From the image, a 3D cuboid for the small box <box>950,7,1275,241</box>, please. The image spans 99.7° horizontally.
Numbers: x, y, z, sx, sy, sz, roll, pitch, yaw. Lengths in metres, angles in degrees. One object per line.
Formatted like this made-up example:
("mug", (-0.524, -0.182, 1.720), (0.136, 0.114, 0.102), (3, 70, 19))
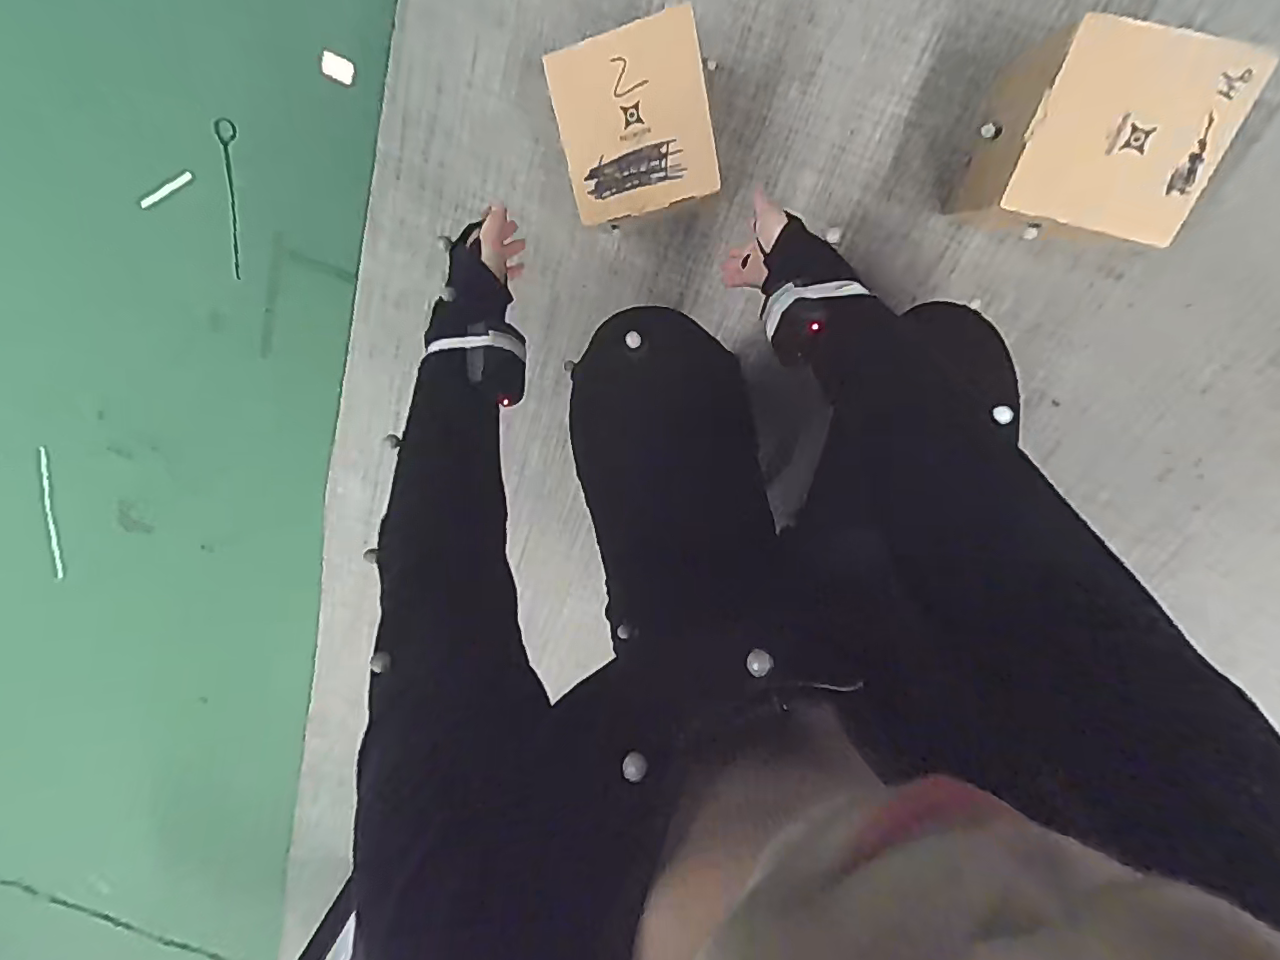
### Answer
("small box", (0.477, -0.365, 0.589), (0.179, 0.176, 0.168), (16, 115, 5))
